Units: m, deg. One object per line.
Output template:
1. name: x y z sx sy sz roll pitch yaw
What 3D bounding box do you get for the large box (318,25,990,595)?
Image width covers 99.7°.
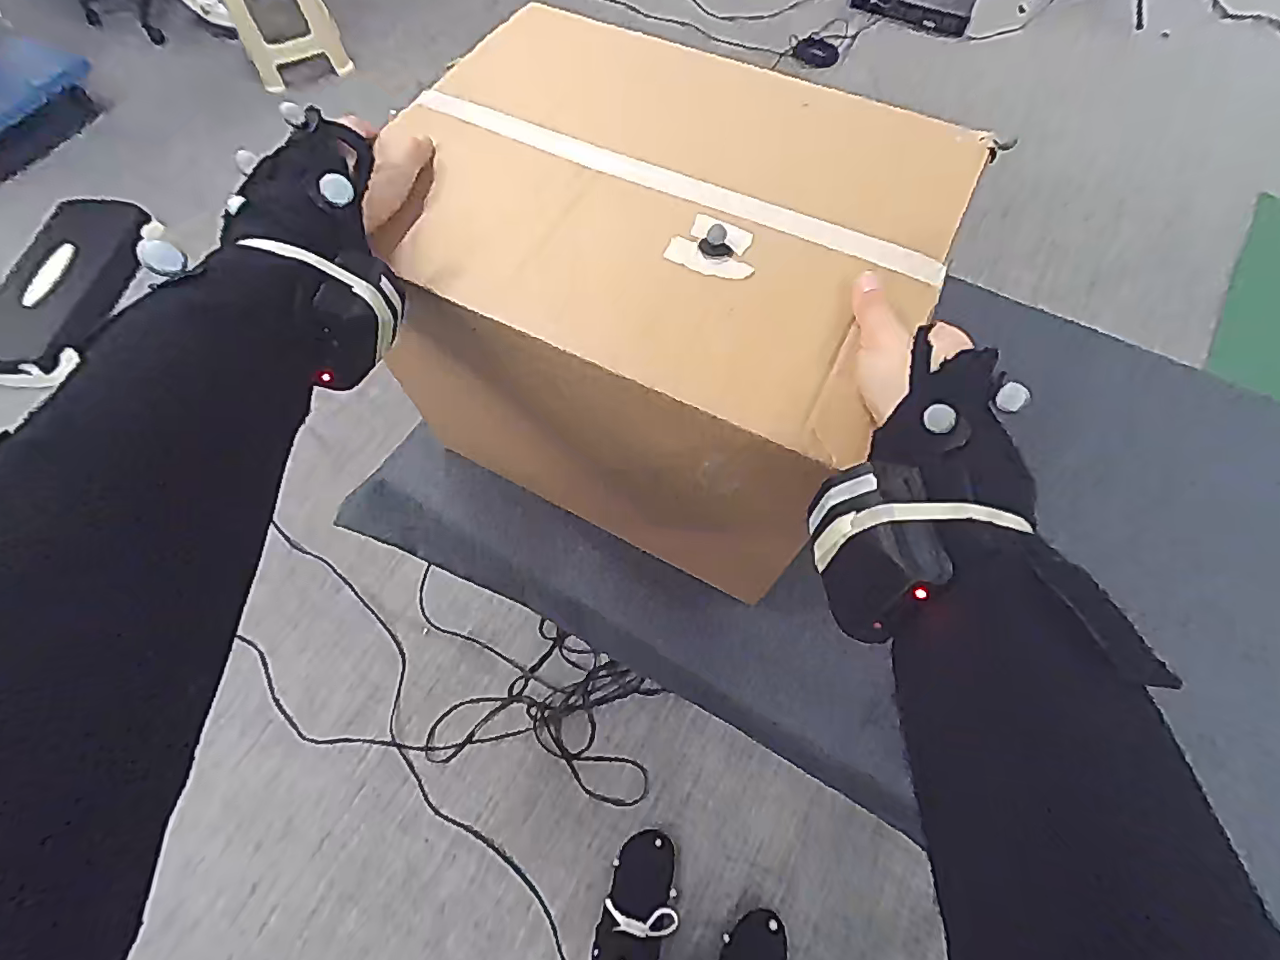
1. large box: 0.019 -0.141 0.523 0.408 0.320 0.320 26 68 11
